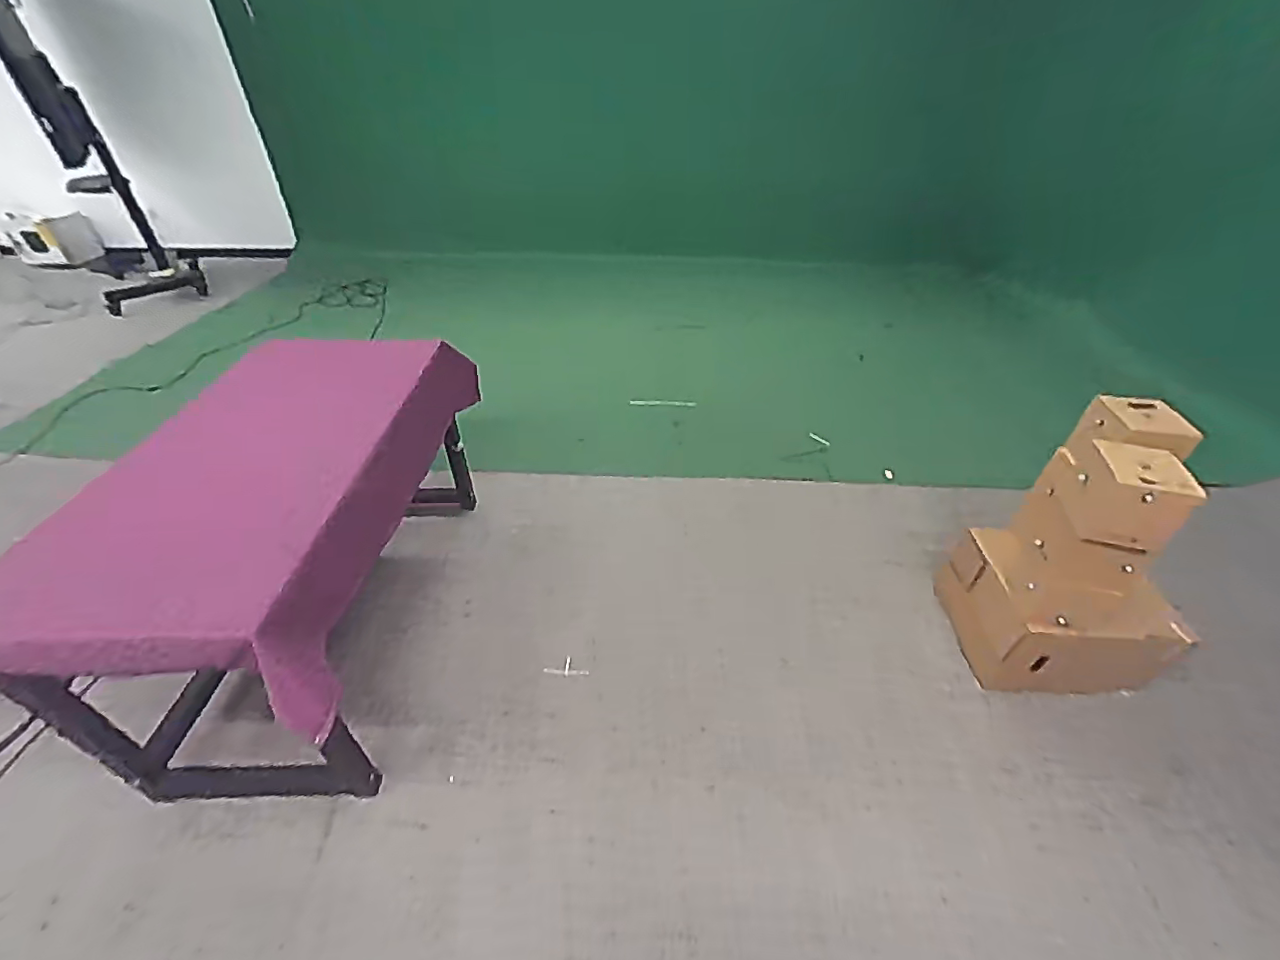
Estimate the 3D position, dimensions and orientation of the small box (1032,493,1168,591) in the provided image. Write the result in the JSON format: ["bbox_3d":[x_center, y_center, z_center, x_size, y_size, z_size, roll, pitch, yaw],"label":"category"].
[{"bbox_3d":[1.136,0.156,1.354,0.179,0.176,0.168,8,39,8],"label":"small box"}]

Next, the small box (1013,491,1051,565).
[{"bbox_3d":[1.275,0.155,1.622,0.168,0.176,0.179,3,39,0],"label":"small box"}]

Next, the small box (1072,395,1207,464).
[{"bbox_3d":[1.293,-0.102,1.419,0.168,0.176,0.179,6,39,6],"label":"small box"}]

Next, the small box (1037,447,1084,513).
[{"bbox_3d":[1.279,0.026,1.523,0.179,0.176,0.168,3,39,2],"label":"small box"}]

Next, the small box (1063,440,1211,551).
[{"bbox_3d":[1.121,0.034,1.243,0.168,0.176,0.179,11,39,12],"label":"small box"}]
